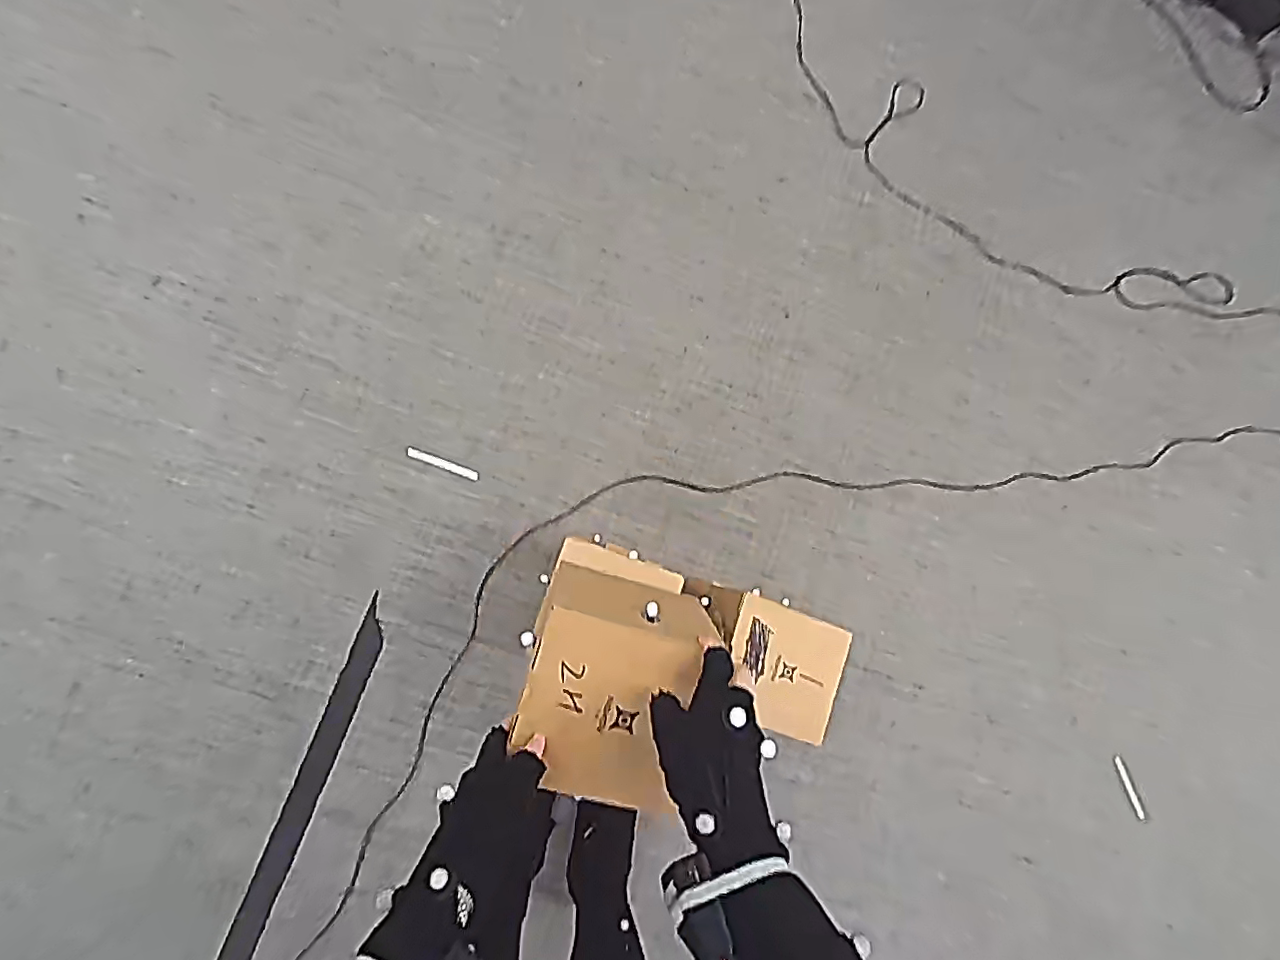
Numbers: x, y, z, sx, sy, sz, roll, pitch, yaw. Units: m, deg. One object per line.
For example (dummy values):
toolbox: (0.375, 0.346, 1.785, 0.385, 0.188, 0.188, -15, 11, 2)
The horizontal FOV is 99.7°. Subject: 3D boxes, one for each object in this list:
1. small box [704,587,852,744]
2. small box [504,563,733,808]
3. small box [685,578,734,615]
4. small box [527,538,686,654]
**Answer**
small box: (0.185, 0.271, 0.834, 0.179, 0.176, 0.168, 22, 81, -8)
small box: (-0.026, 0.202, 0.576, 0.179, 0.176, 0.168, 17, 94, -7)
small box: (0.160, 0.287, 0.996, 0.179, 0.176, 0.168, 23, 80, -7)
small box: (-0.054, 0.189, 0.806, 0.179, 0.176, 0.168, 20, 80, -6)
